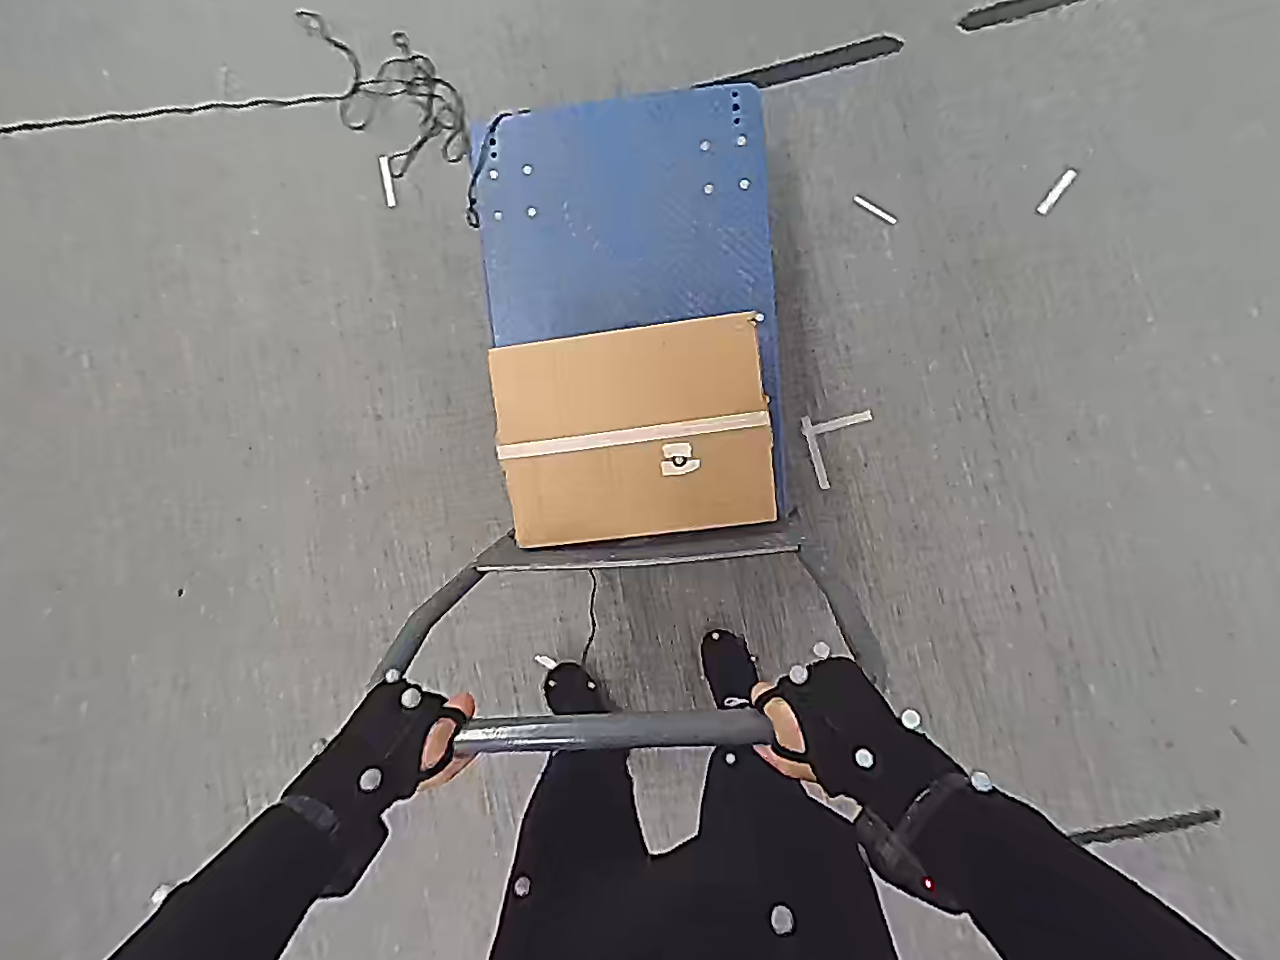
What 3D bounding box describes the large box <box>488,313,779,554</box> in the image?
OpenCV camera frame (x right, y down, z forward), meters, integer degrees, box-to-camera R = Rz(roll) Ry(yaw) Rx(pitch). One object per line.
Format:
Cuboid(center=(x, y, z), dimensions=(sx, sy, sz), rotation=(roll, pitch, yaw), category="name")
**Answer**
Cuboid(center=(-0.003, -0.076, 0.947), dimensions=(0.408, 0.320, 0.320), rotation=(-7, 96, 4), category="large box")
